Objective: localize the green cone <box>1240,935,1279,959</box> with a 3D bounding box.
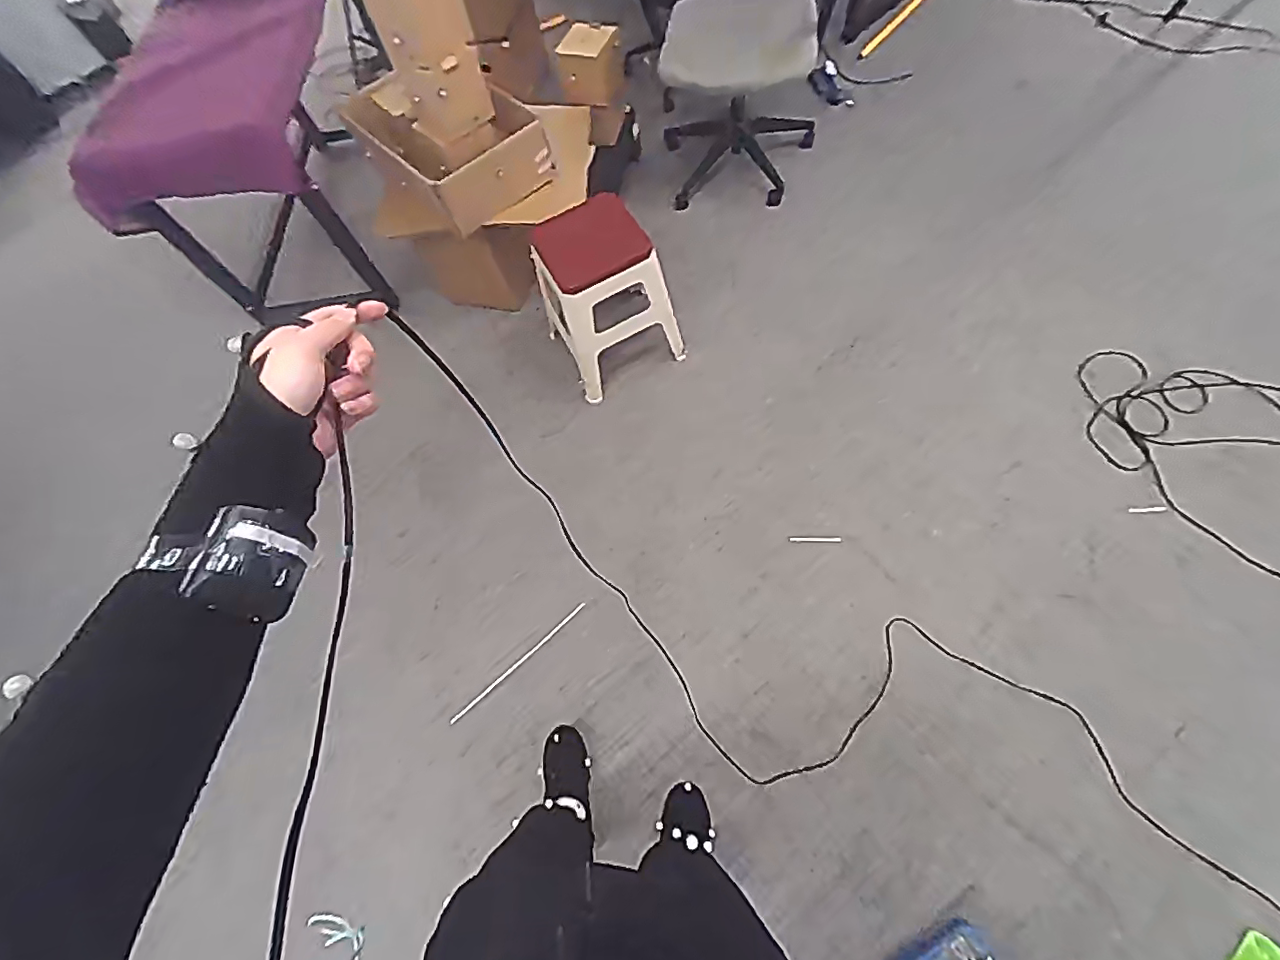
[{"bbox_3d":[1.222,0.956,0.874,0.202,0.368,0.200,-43,67,-13],"label":"green cone"}]
